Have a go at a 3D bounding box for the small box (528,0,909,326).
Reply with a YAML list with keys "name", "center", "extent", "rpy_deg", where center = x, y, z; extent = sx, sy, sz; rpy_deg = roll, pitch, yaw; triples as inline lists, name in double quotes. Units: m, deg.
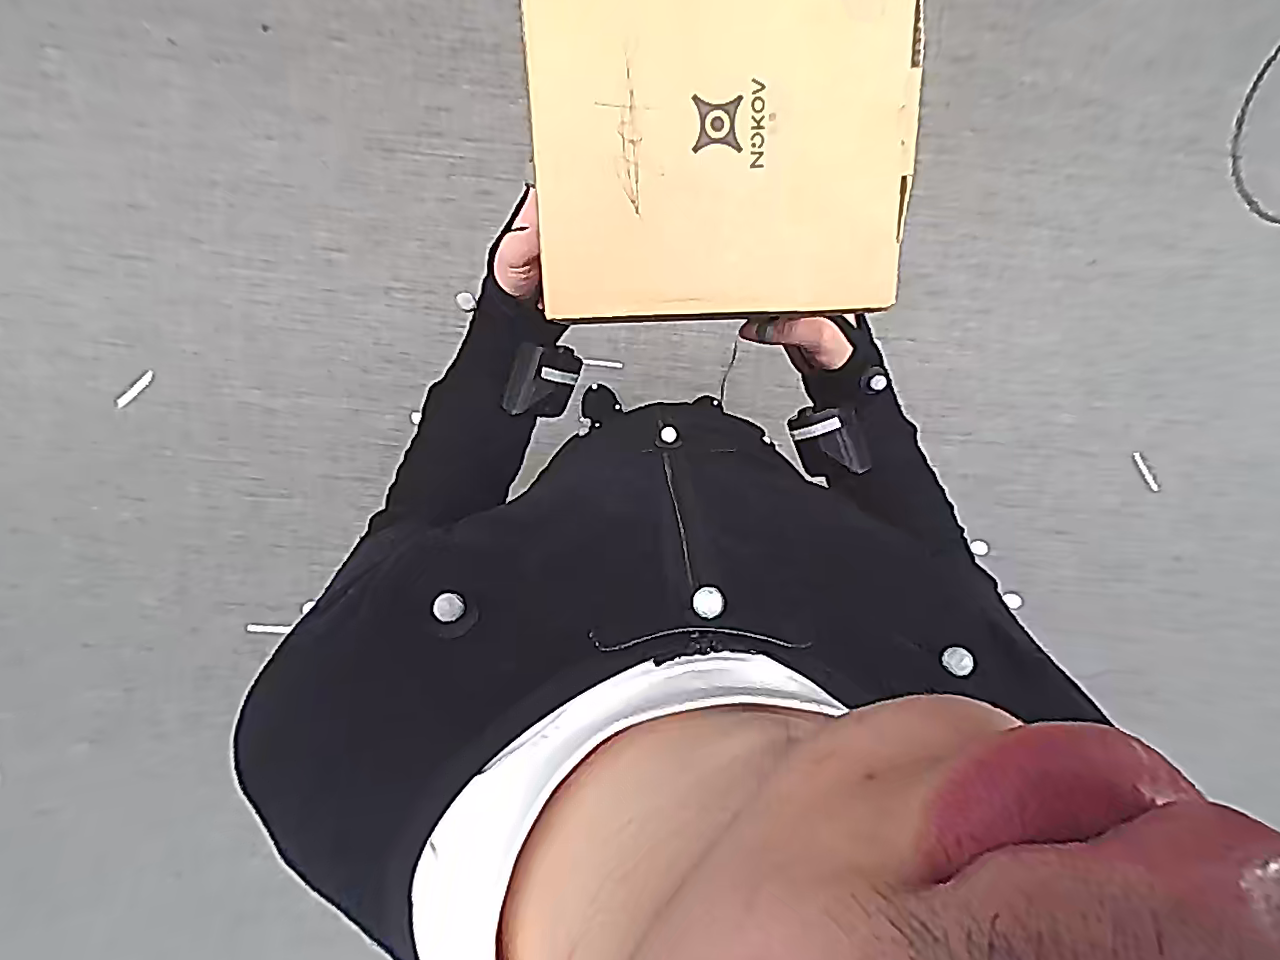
- name: "small box"
  center: [0.033, -0.184, 0.332]
  extent: [0.179, 0.176, 0.168]
  rpy_deg: [-3, 104, -3]
